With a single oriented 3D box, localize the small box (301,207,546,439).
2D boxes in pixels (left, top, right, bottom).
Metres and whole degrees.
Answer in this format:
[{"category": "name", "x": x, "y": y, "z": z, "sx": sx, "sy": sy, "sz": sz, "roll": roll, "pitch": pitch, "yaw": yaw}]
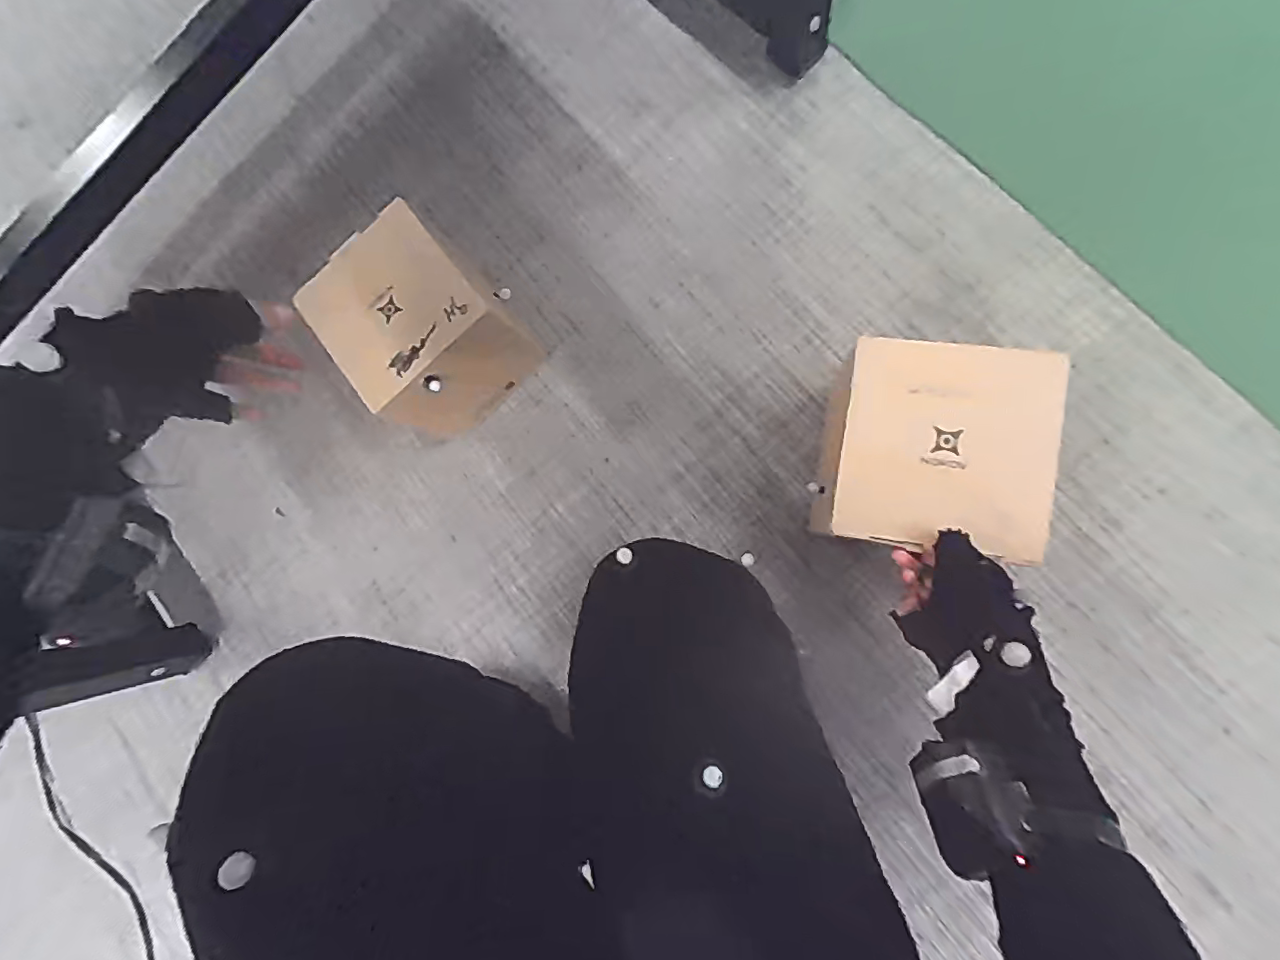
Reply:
[{"category": "small box", "x": -0.247, "y": -0.171, "z": 0.649, "sx": 0.168, "sy": 0.176, "sz": 0.179, "roll": -40, "pitch": 77, "yaw": 7}]
